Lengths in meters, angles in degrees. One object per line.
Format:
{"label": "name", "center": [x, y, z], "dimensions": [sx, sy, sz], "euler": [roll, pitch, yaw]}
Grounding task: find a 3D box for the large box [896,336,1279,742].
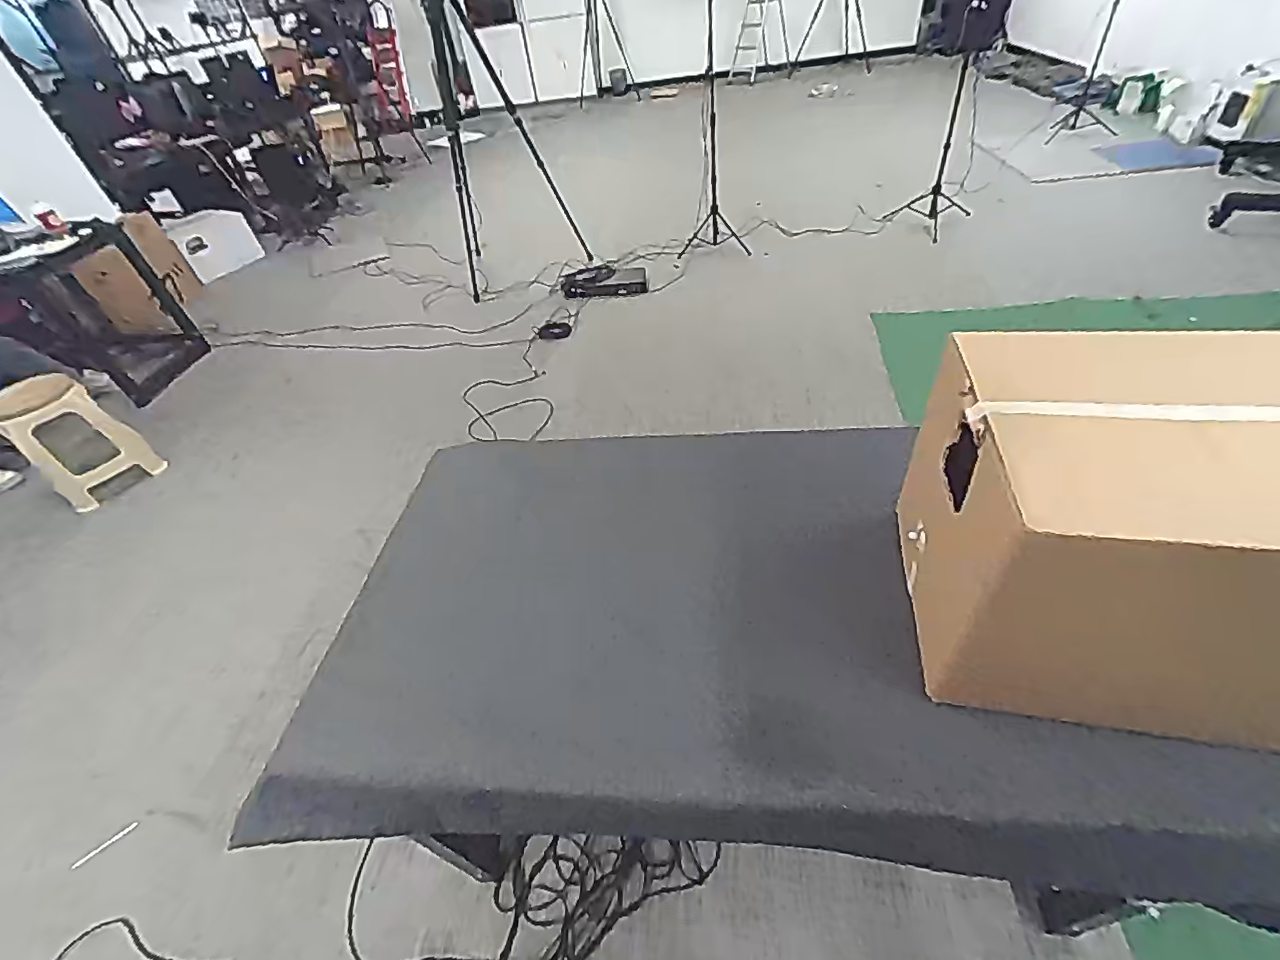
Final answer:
{"label": "large box", "center": [0.544, 0.054, 0.591], "dimensions": [0.408, 0.320, 0.320], "euler": [4, 45, 13]}
